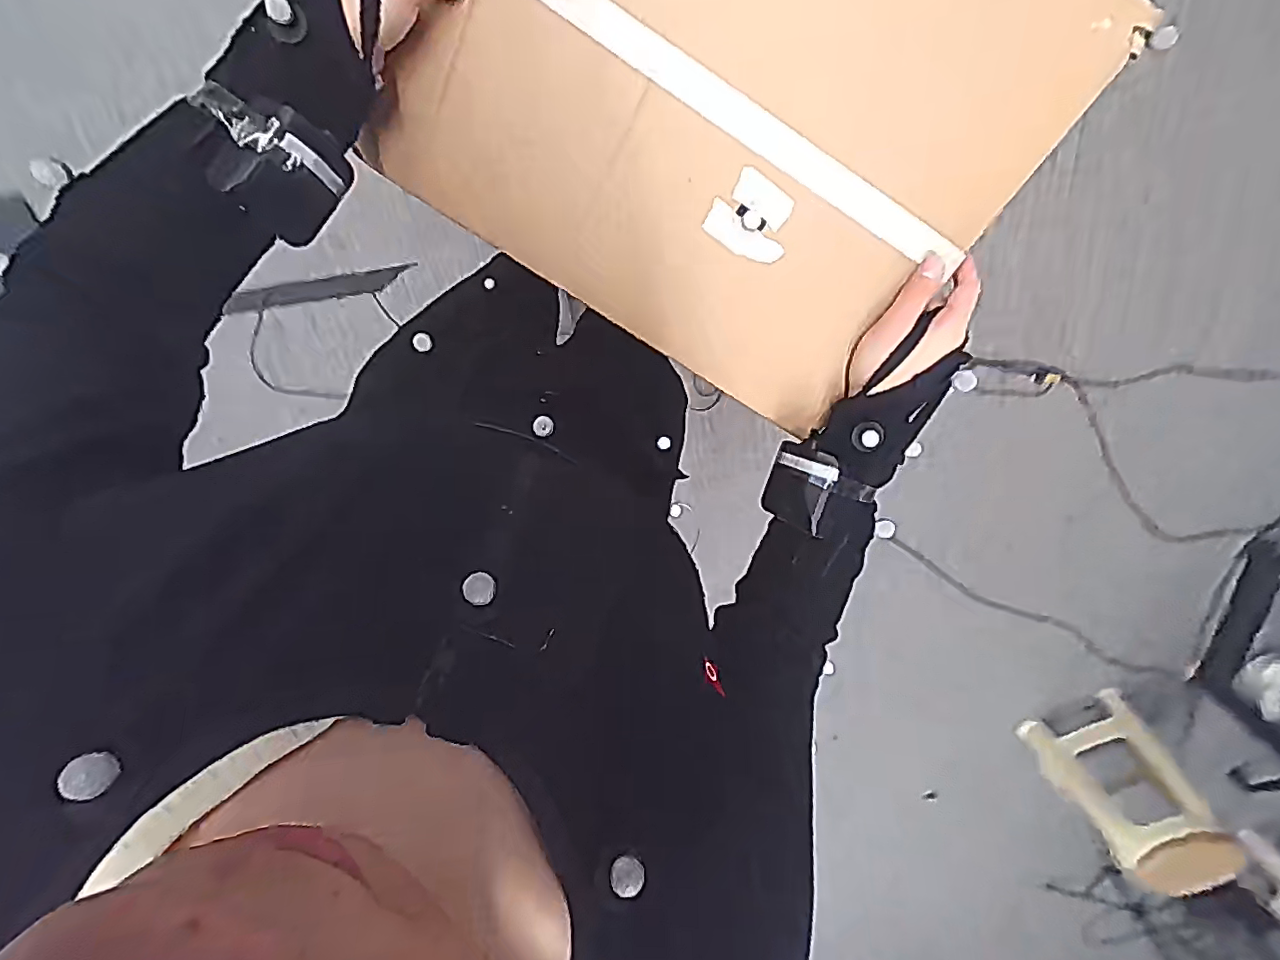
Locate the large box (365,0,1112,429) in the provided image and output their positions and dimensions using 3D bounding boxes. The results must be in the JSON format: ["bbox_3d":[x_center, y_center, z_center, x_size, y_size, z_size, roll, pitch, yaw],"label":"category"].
[{"bbox_3d":[0.052,-0.314,0.492,0.408,0.320,0.320,28,118,-8],"label":"large box"}]
